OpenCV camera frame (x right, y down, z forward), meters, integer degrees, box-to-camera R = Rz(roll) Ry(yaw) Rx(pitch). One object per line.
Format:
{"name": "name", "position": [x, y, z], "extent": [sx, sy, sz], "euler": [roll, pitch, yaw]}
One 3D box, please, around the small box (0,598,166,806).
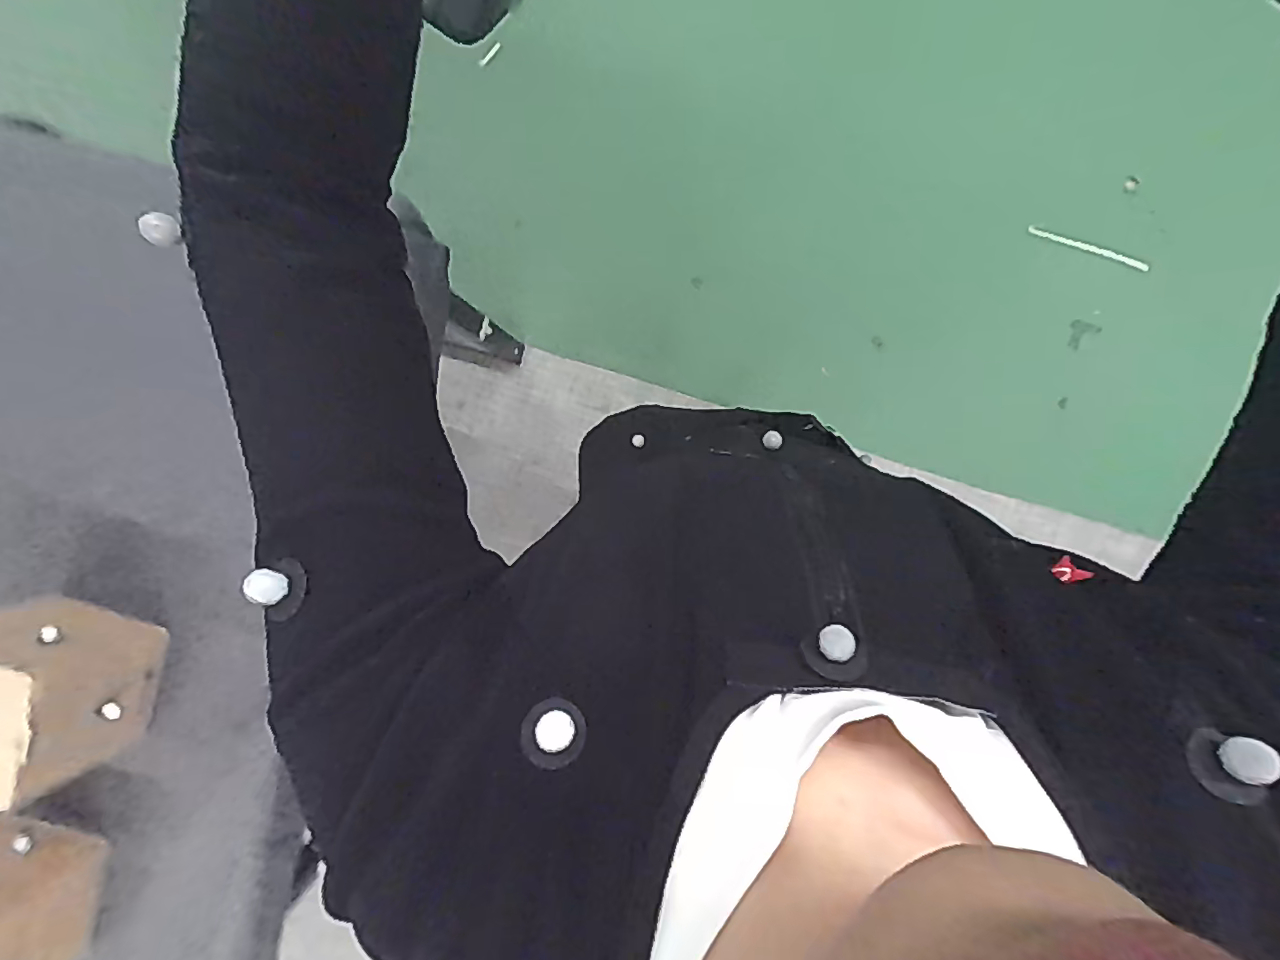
{"name": "small box", "position": [-0.769, 0.266, 0.690], "extent": [0.179, 0.176, 0.168], "euler": [17, 93, 1]}

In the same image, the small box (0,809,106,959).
{"name": "small box", "position": [-0.867, 0.582, 0.709], "extent": [0.168, 0.176, 0.179], "euler": [14, 92, 1]}
